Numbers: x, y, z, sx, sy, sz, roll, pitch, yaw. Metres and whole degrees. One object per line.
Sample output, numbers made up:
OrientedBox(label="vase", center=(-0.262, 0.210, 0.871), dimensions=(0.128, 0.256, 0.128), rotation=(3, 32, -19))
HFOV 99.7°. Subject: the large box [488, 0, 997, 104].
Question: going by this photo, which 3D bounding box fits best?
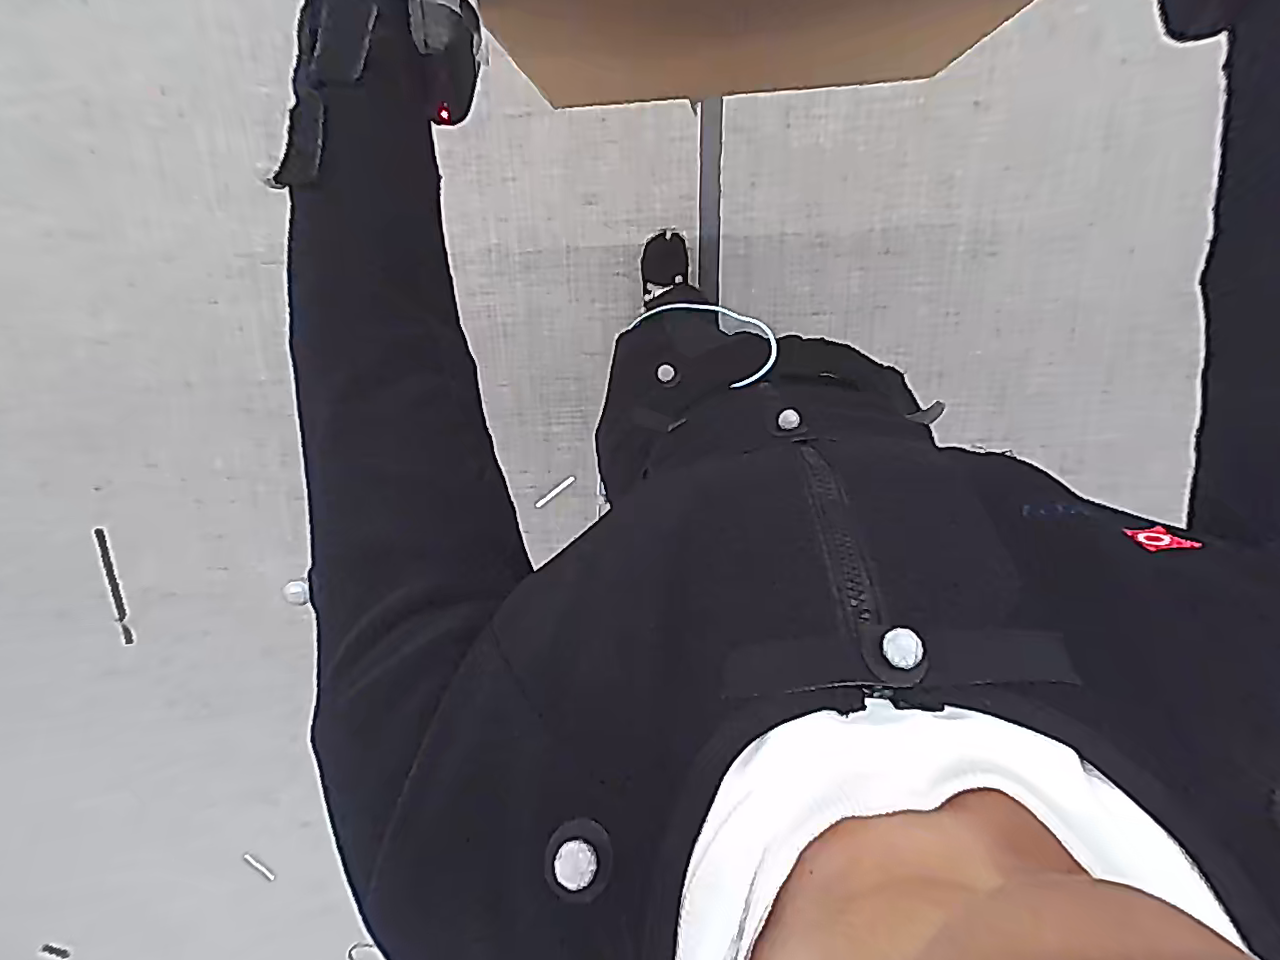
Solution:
OrientedBox(label="large box", center=(0.082, -0.510, 0.387), dimensions=(0.408, 0.320, 0.320), rotation=(-2, 112, 4))
